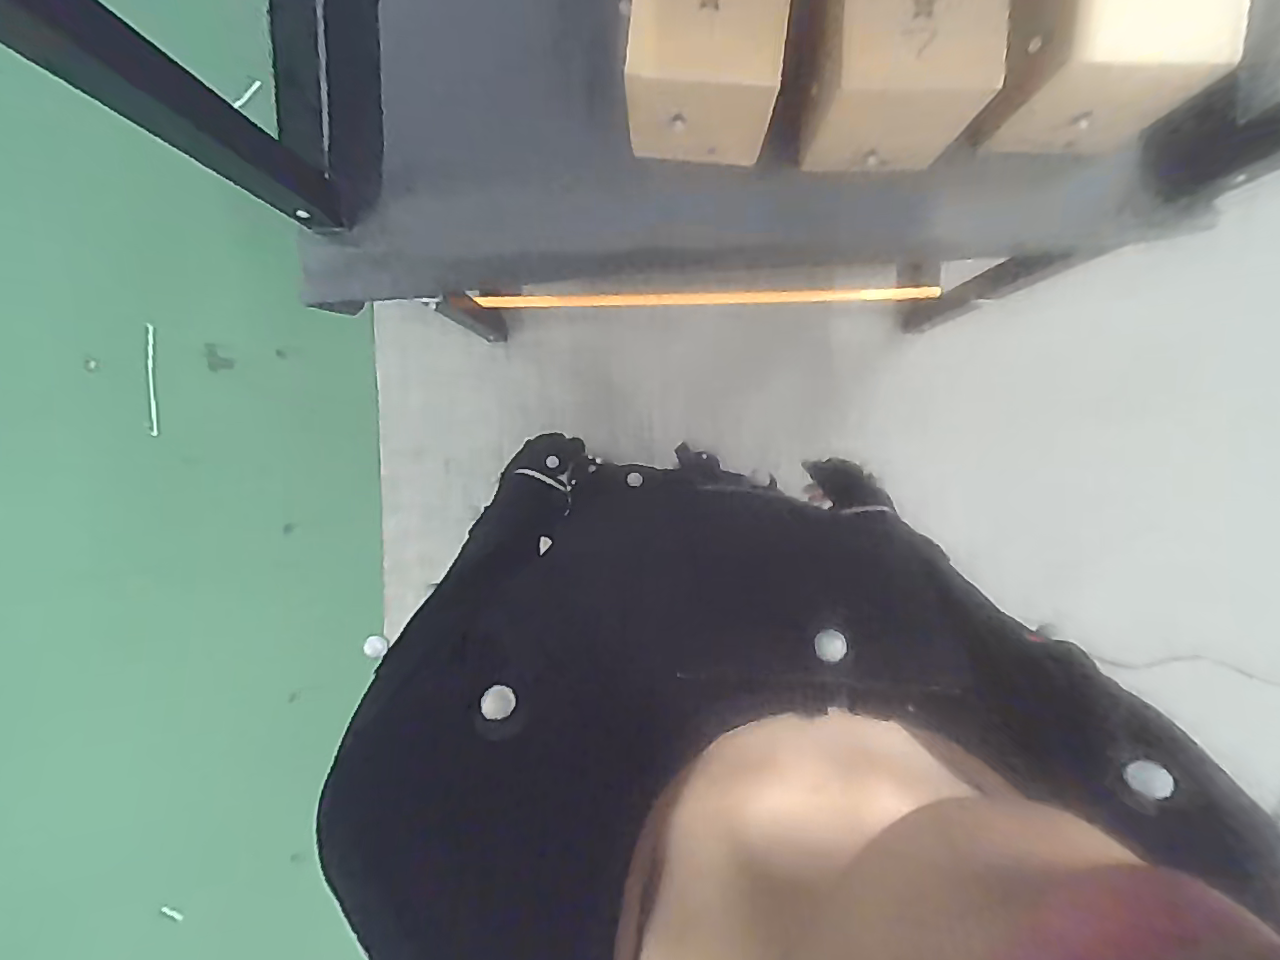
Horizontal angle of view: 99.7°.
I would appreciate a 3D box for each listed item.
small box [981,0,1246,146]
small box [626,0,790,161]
[{"bbox_3d":[0.520,-0.510,0.614,0.168,0.176,0.179,3,93,3],"label":"small box"},{"bbox_3d":[0.079,-0.509,0.641,0.168,0.176,0.179,6,94,3],"label":"small box"}]
